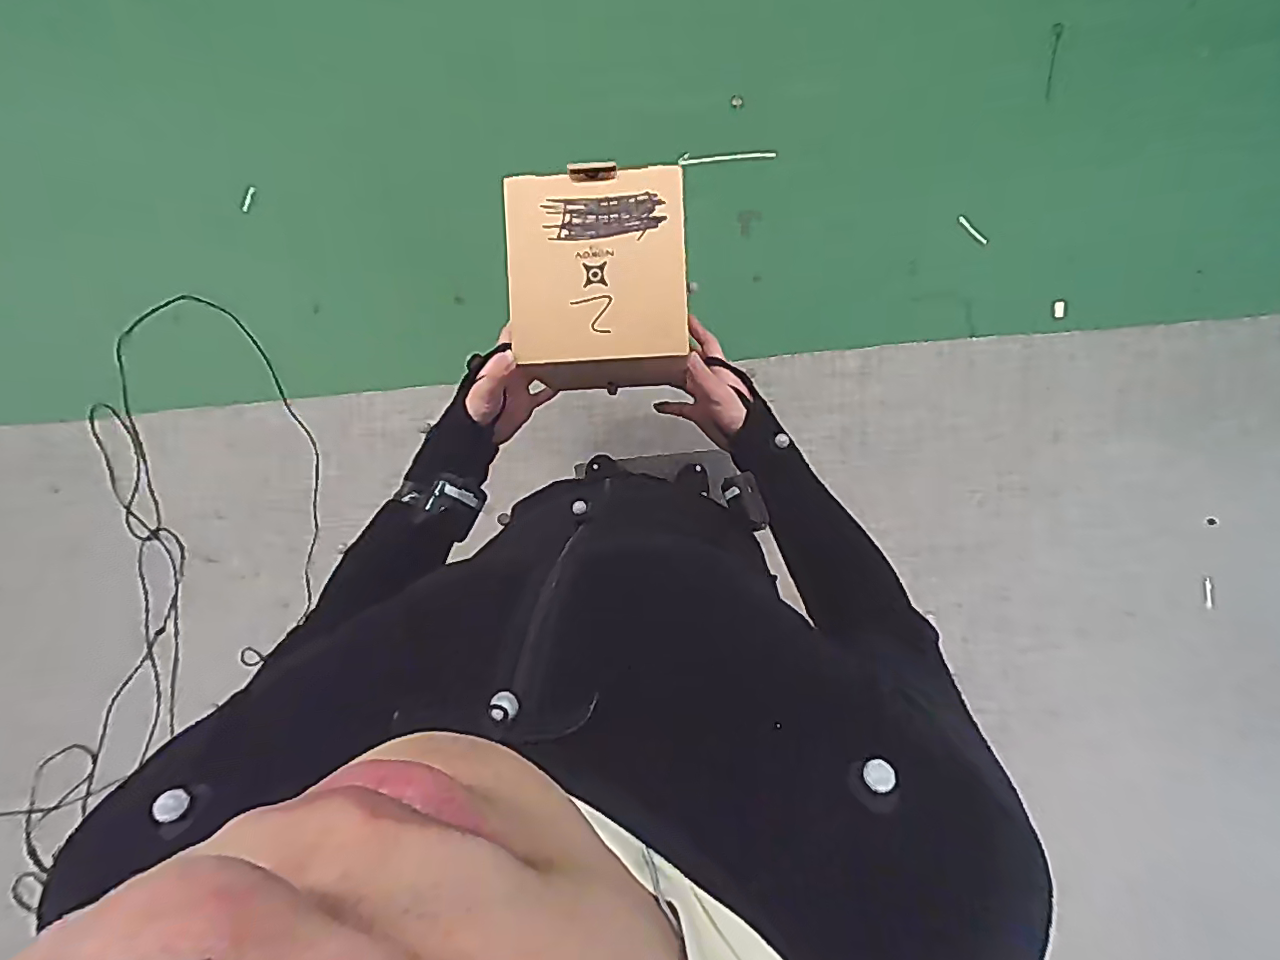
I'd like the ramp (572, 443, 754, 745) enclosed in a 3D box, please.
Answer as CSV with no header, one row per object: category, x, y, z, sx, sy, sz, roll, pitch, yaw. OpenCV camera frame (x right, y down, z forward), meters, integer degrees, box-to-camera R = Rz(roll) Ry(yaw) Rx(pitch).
ramp,0.092,0.394,1.720,0.509,0.206,0.991,-7,93,2
